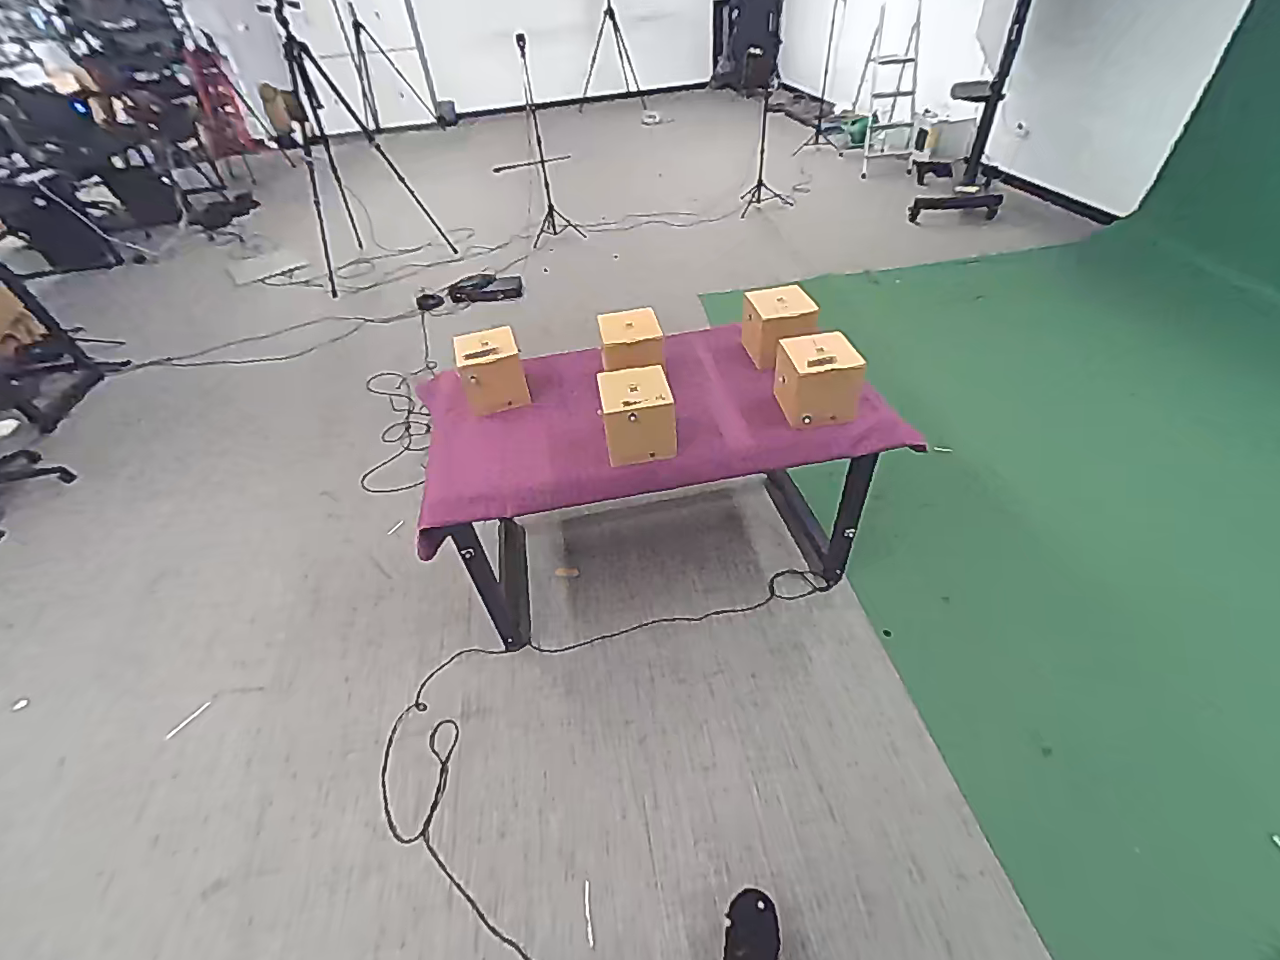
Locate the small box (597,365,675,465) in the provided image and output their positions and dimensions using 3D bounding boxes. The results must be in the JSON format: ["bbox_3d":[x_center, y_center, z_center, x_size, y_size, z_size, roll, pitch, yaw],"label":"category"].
[{"bbox_3d":[-0.010,-0.162,1.339,0.168,0.176,0.179,-9,42,-3],"label":"small box"}]

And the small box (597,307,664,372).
[{"bbox_3d":[-0.027,-0.377,1.566,0.168,0.176,0.179,-10,45,-5],"label":"small box"}]

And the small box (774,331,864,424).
[{"bbox_3d":[0.450,-0.257,1.389,0.168,0.176,0.179,-8,42,-1],"label":"small box"}]

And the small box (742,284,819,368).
[{"bbox_3d":[0.406,-0.454,1.598,0.168,0.176,0.179,-10,45,-3],"label":"small box"}]
